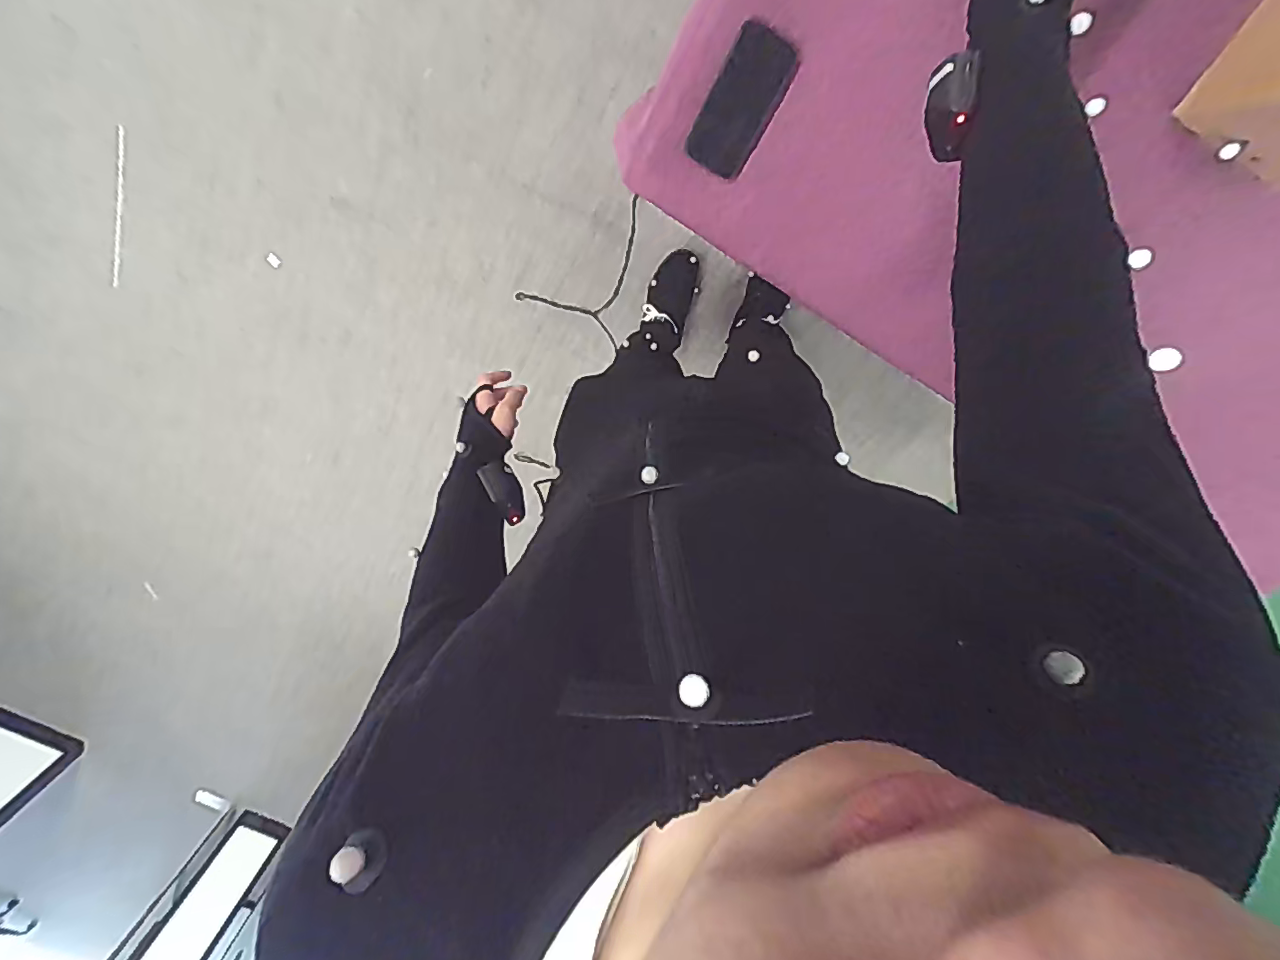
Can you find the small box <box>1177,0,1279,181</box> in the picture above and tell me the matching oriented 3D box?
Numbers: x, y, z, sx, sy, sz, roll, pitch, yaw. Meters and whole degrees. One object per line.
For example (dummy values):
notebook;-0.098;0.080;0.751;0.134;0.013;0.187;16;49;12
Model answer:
small box;0.696;-0.408;0.511;0.168;0.176;0.179;27;119;-6
